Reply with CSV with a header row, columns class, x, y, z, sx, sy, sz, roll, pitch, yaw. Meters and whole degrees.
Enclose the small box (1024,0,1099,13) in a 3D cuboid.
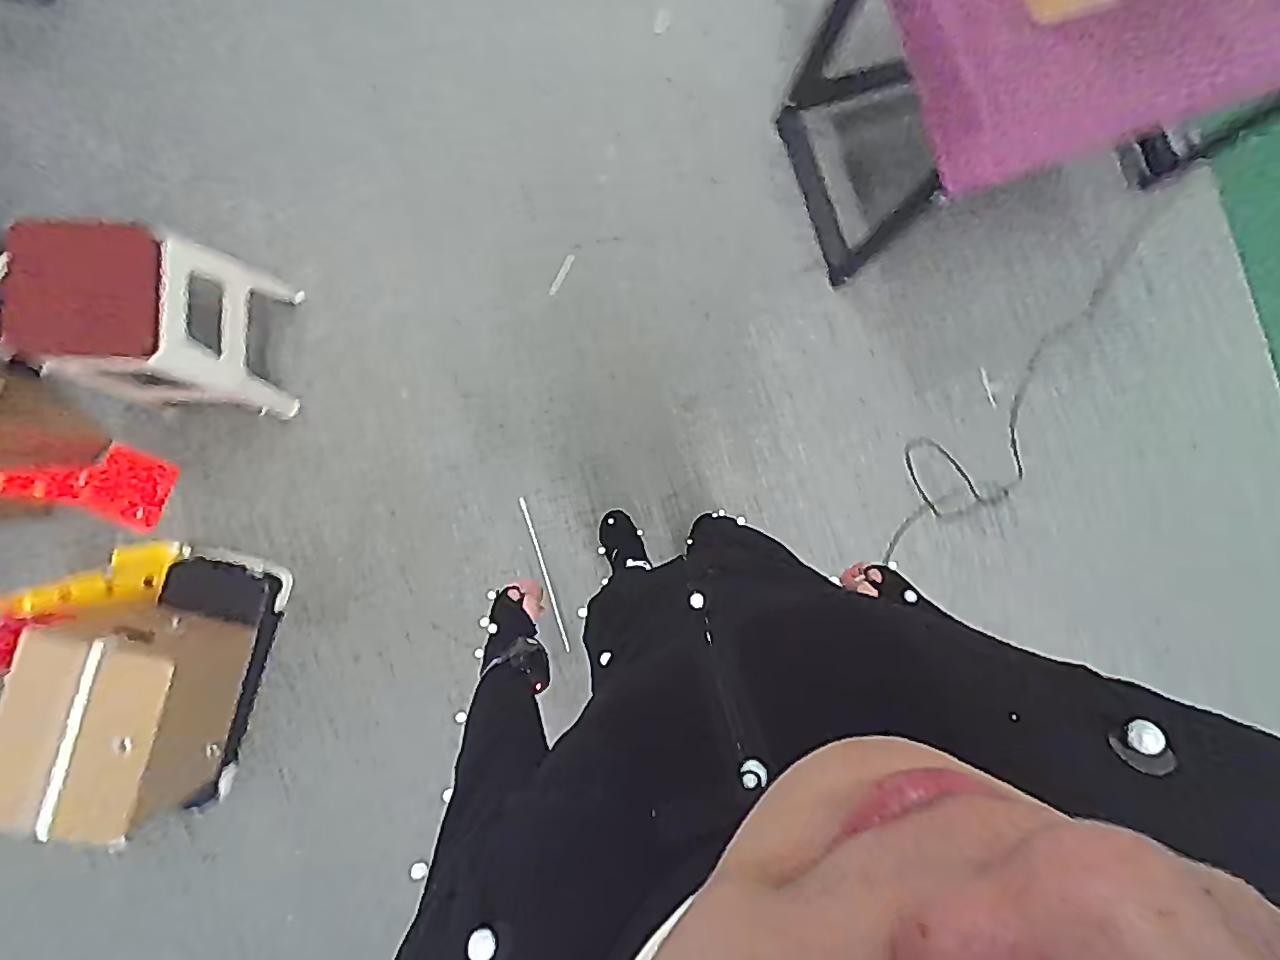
class,x,y,z,sx,sy,sz,roll,pitch,yaw
small box,0.772,-0.951,0.922,0.168,0.176,0.179,-20,90,-5
